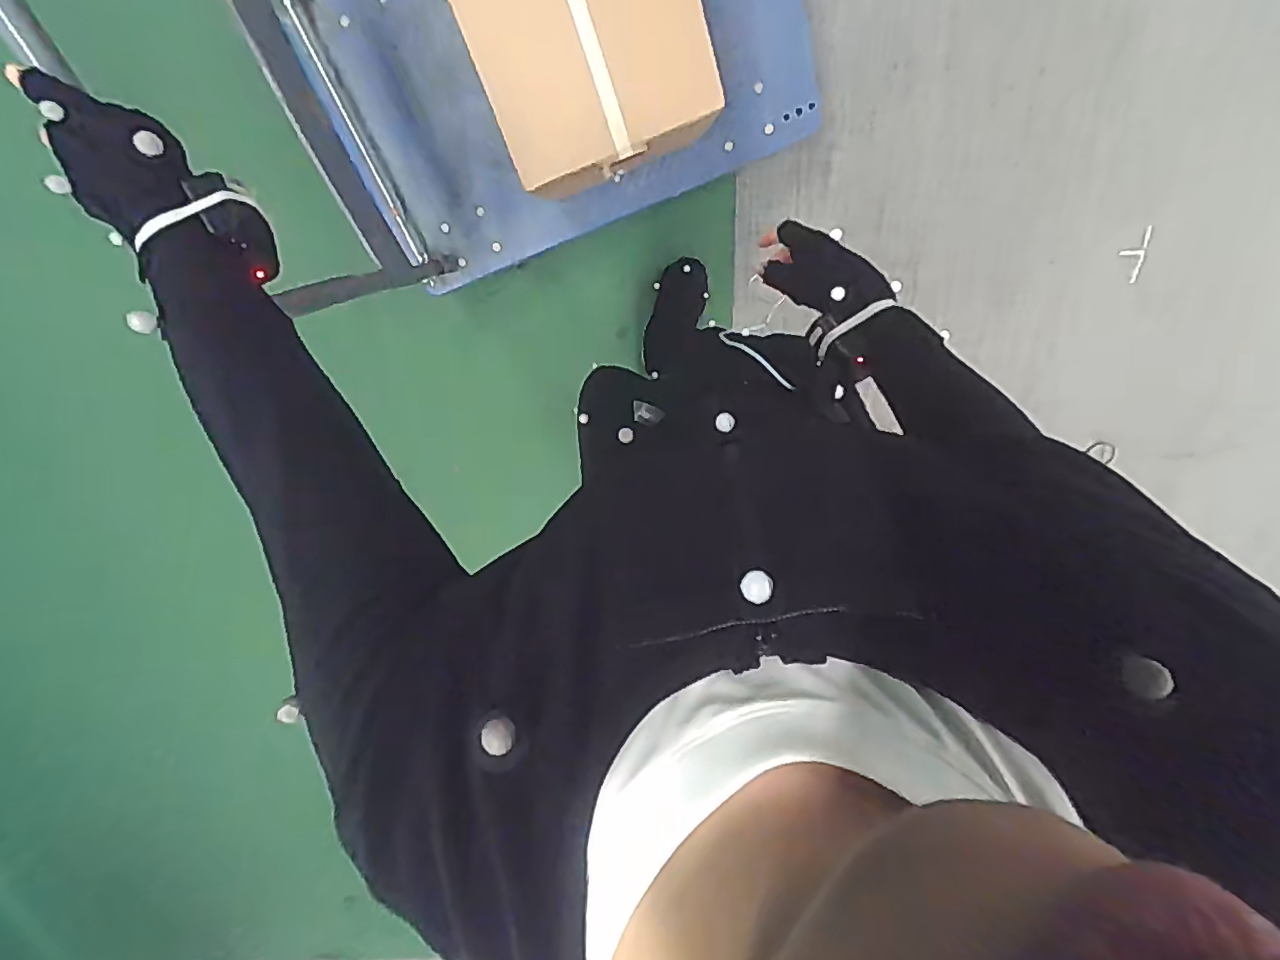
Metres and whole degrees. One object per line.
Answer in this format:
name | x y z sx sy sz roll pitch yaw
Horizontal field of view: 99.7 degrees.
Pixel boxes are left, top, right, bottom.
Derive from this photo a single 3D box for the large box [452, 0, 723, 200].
large box | -0.092 -0.714 0.848 0.320 0.320 0.408 -19 112 7
